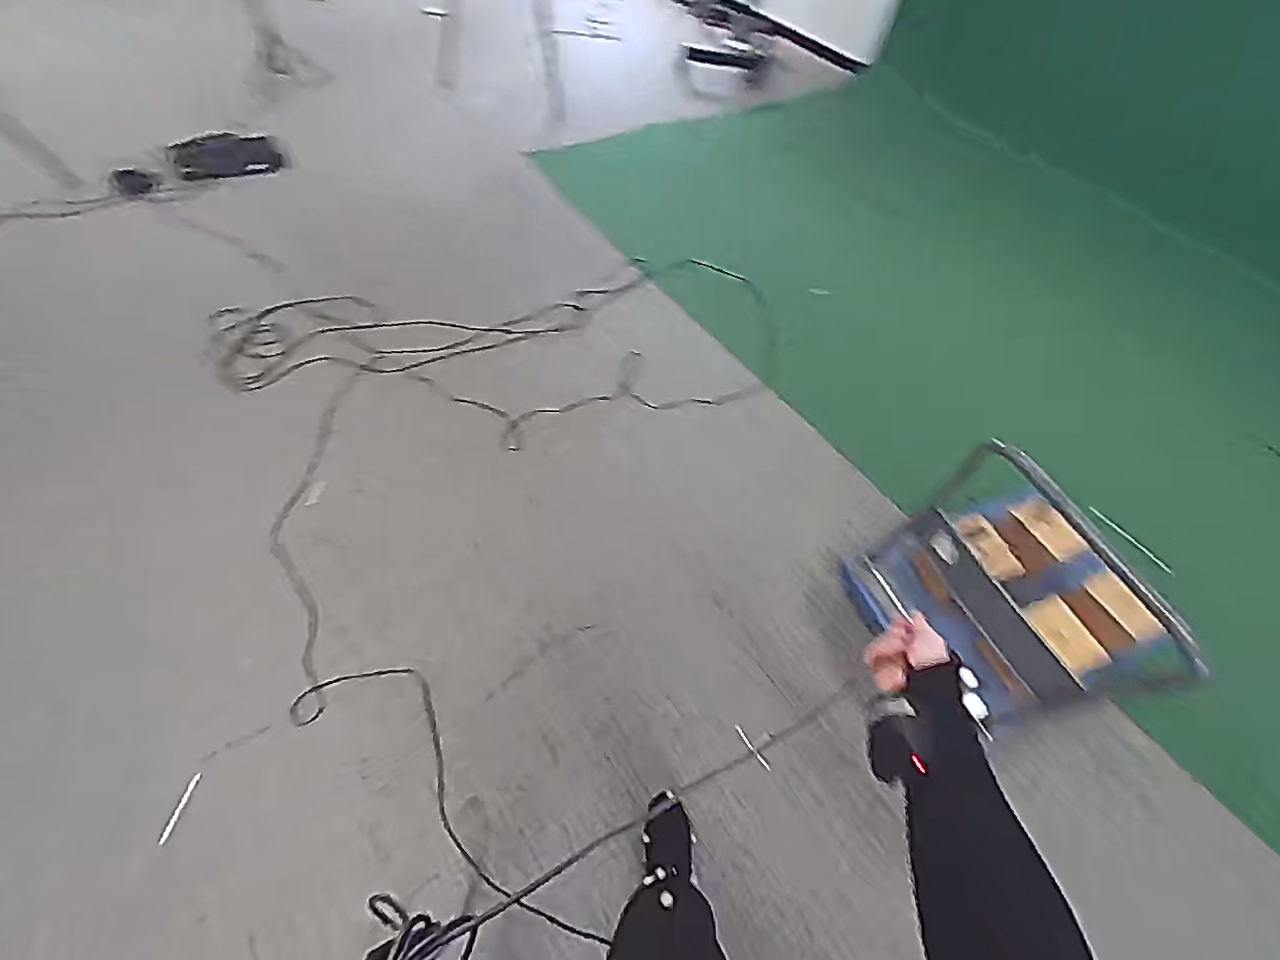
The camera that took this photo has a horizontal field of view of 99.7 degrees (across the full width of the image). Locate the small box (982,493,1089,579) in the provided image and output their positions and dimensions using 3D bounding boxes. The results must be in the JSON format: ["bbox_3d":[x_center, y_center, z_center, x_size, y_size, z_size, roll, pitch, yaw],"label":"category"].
[{"bbox_3d":[1.181,0.173,1.635,0.179,0.176,0.168,-20,61,-19],"label":"small box"}]

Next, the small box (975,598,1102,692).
[{"bbox_3d":[1.049,0.441,1.440,0.179,0.176,0.168,-17,59,-16],"label":"small box"}]

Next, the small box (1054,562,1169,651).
[{"bbox_3d":[1.296,0.363,1.518,0.179,0.176,0.168,-21,60,-18],"label":"small box"}]
